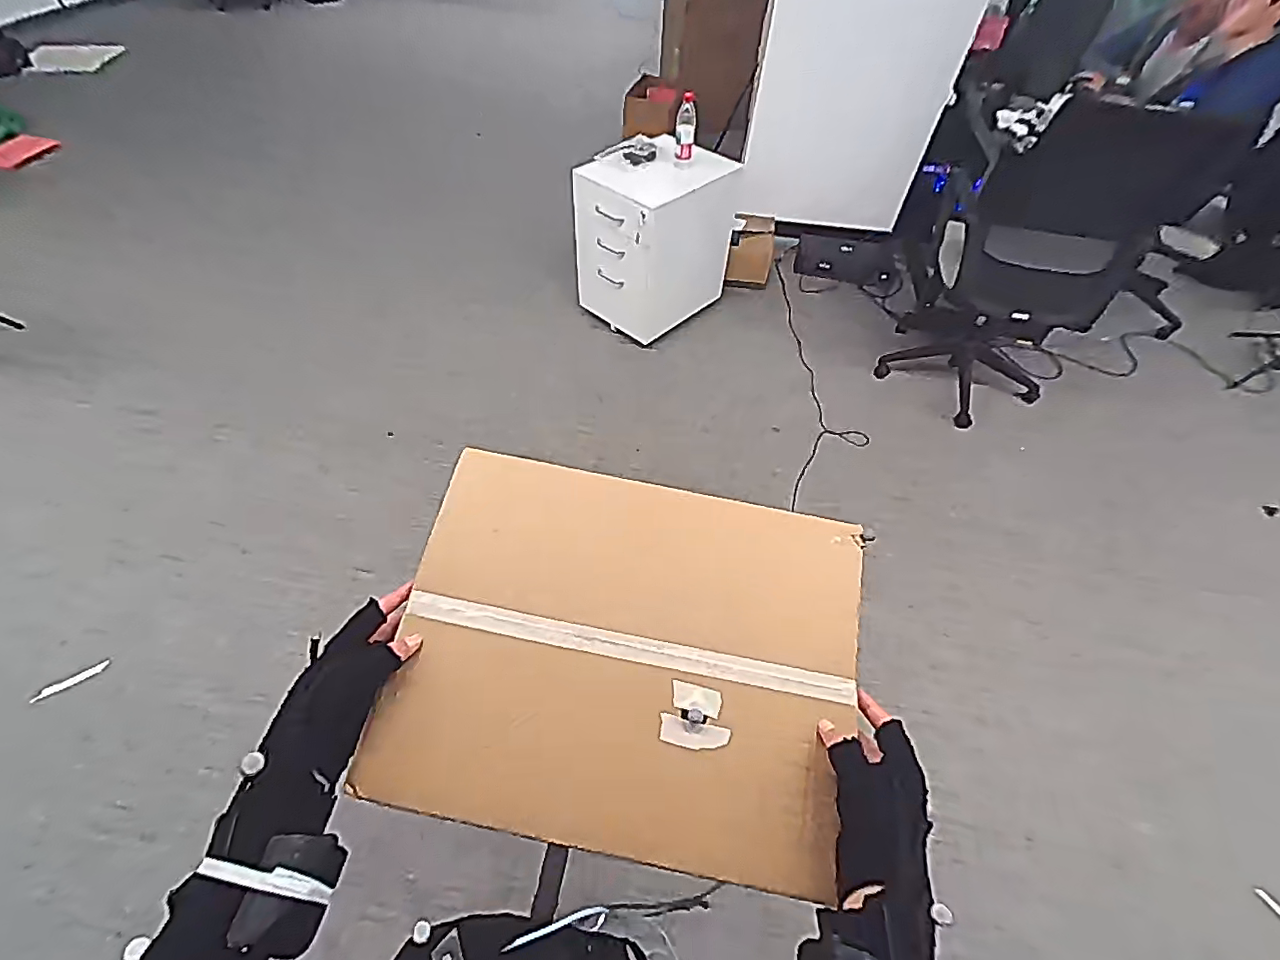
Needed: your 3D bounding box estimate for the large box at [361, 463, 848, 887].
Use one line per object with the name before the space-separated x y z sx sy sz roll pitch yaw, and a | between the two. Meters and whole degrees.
large box | -0.019 0.211 0.632 0.408 0.320 0.320 11 68 2
